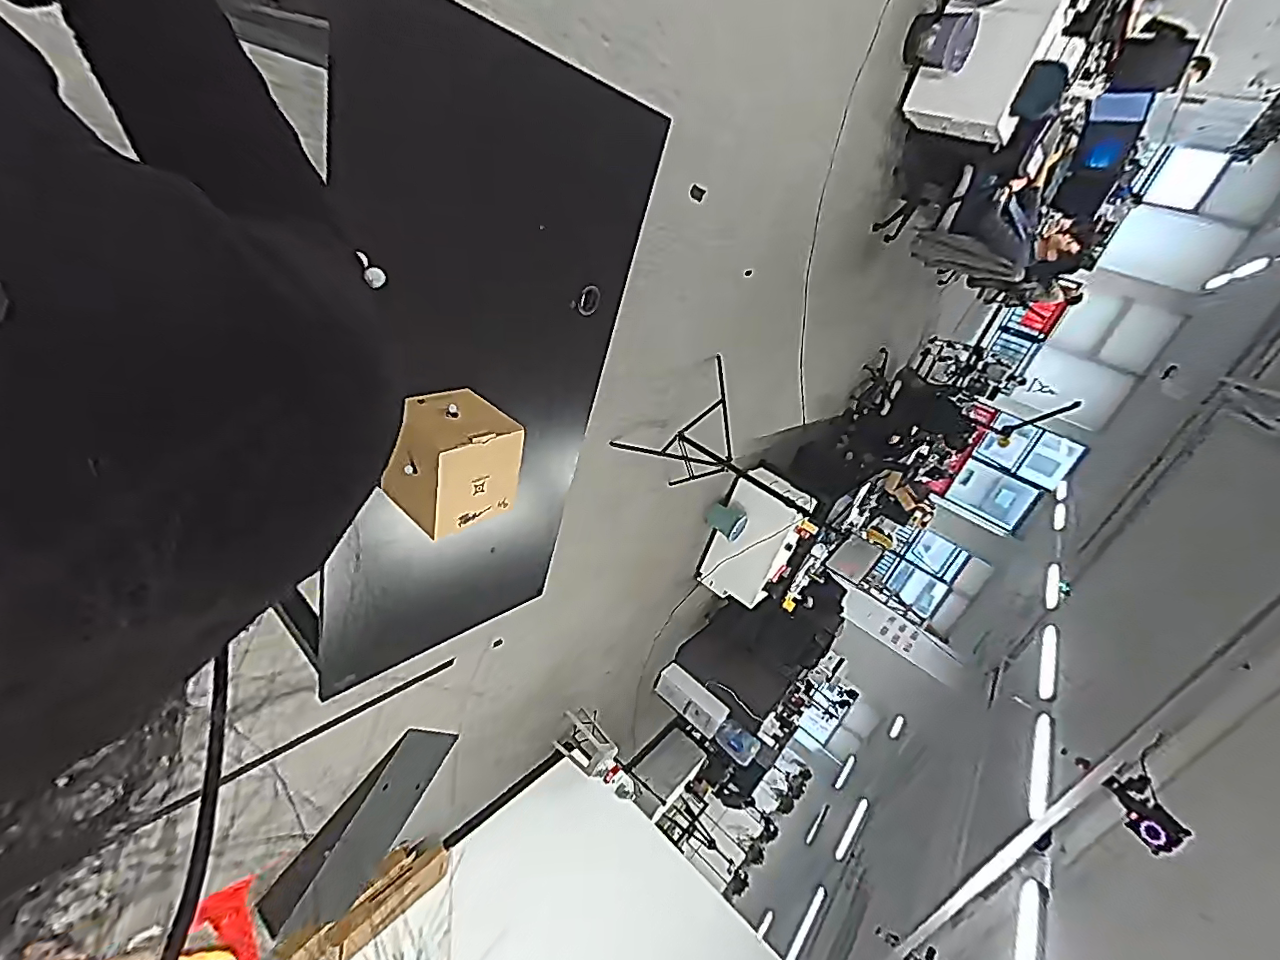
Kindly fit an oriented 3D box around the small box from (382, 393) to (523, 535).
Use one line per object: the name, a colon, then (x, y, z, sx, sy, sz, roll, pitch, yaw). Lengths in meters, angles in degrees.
small box: (-0.327, -0.040, 0.934, 0.168, 0.176, 0.179, -24, 138, -47)
